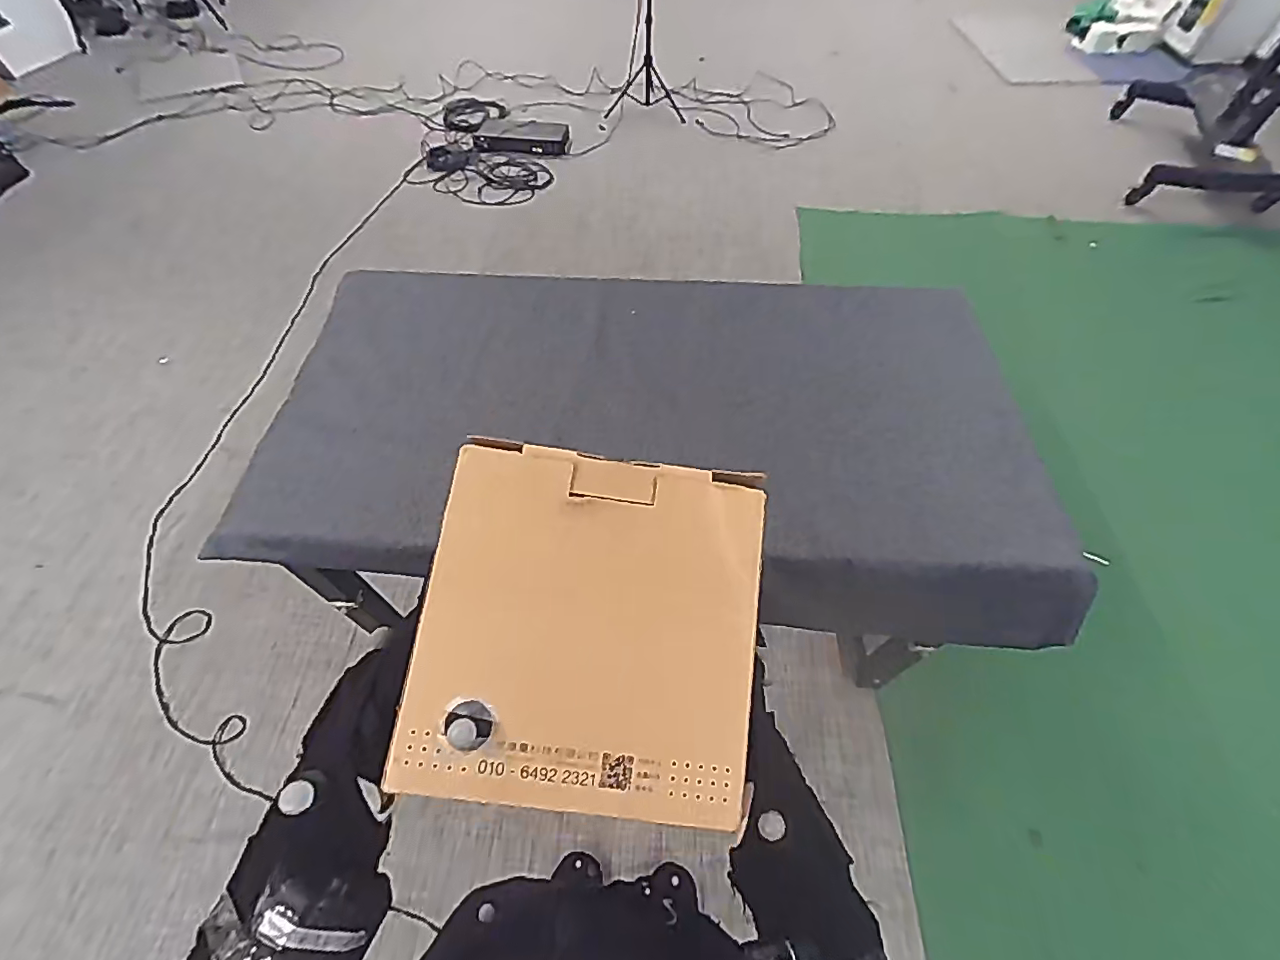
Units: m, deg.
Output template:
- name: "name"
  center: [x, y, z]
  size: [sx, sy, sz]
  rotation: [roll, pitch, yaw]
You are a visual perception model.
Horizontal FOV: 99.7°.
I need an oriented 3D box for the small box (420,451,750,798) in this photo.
- name: "small box"
  center: [-0.032, 0.094, 0.366]
  size: [0.168, 0.179, 0.176]
  rotation: [9, 74, -3]
